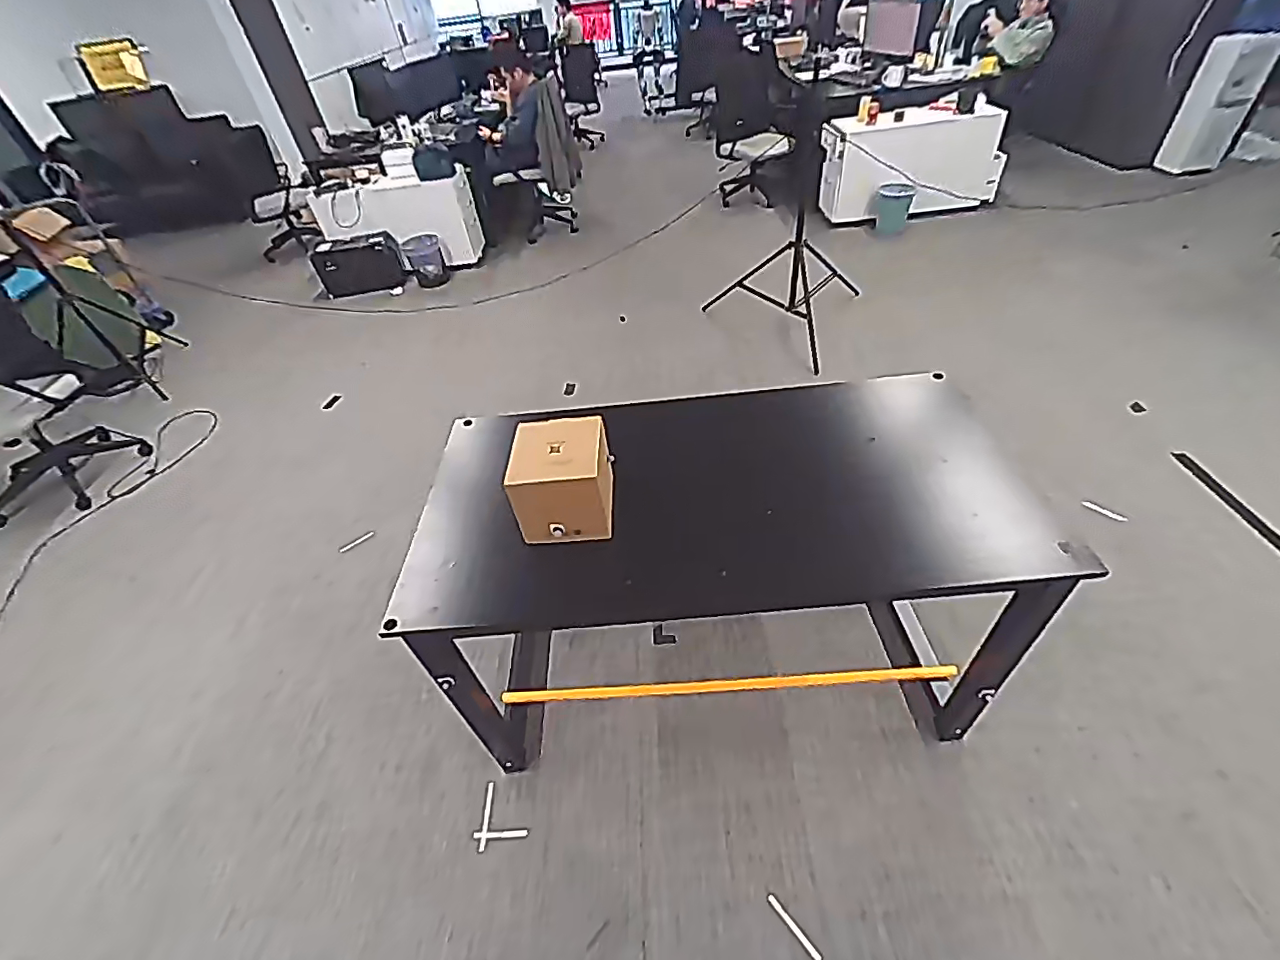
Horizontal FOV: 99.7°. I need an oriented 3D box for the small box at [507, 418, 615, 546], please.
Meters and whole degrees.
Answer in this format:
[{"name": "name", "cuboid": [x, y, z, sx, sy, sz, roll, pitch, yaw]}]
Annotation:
[{"name": "small box", "cuboid": [-0.141, 0.004, 1.039, 0.168, 0.176, 0.179, -6, 44, 4]}]
